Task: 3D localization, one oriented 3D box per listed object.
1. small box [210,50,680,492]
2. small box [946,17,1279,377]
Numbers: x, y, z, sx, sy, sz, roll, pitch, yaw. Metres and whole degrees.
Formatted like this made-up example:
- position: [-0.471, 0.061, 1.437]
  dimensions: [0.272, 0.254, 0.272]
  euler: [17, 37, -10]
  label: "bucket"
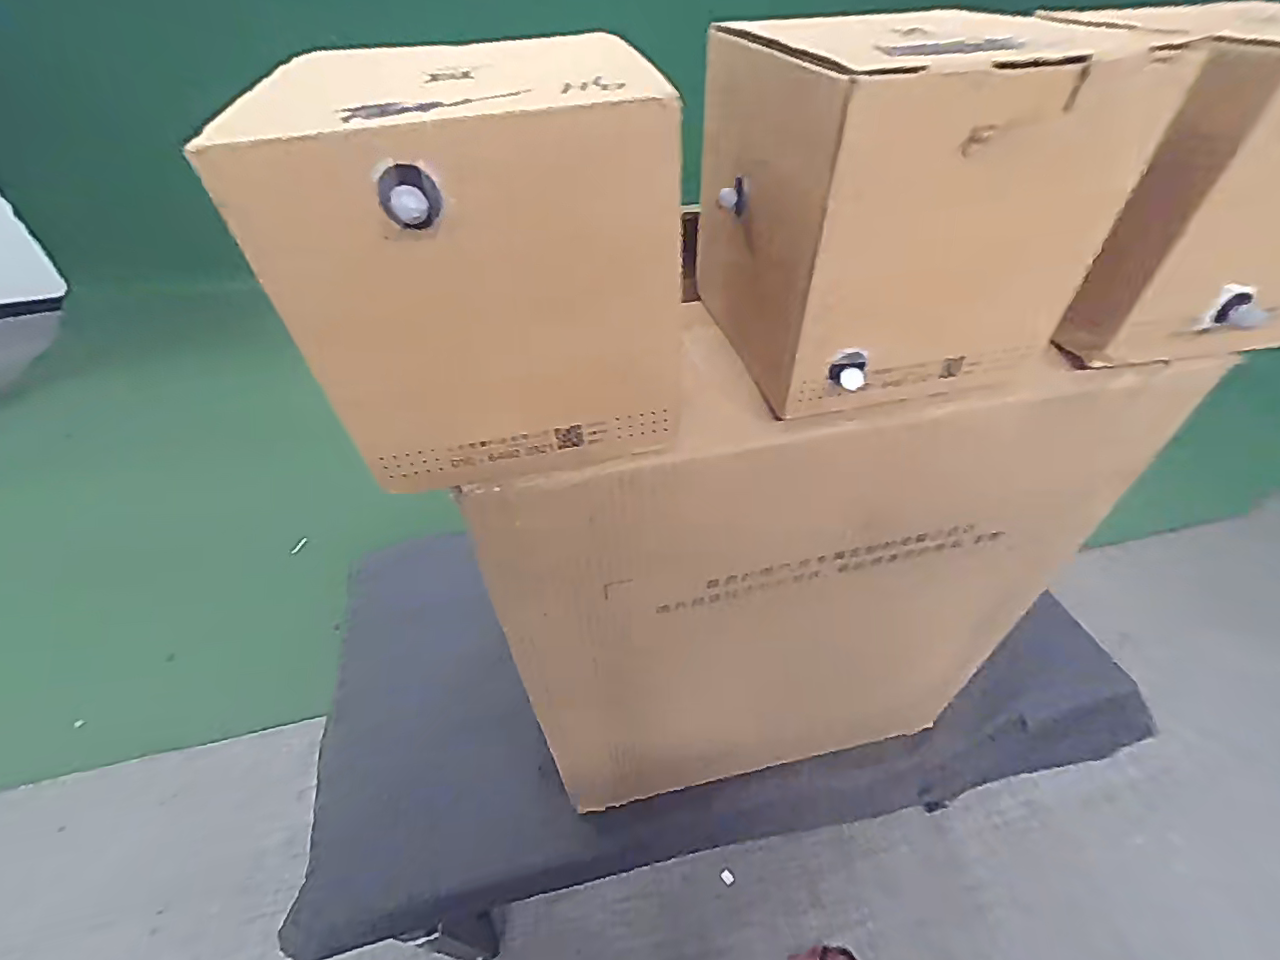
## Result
- position: [-0.076, -0.120, 0.304]
  dimensions: [0.168, 0.176, 0.179]
  euler: [-11, 45, -4]
  label: "small box"
- position: [0.350, -0.192, 0.365]
  dimensions: [0.168, 0.176, 0.179]
  euler: [-10, 46, -7]
  label: "small box"
